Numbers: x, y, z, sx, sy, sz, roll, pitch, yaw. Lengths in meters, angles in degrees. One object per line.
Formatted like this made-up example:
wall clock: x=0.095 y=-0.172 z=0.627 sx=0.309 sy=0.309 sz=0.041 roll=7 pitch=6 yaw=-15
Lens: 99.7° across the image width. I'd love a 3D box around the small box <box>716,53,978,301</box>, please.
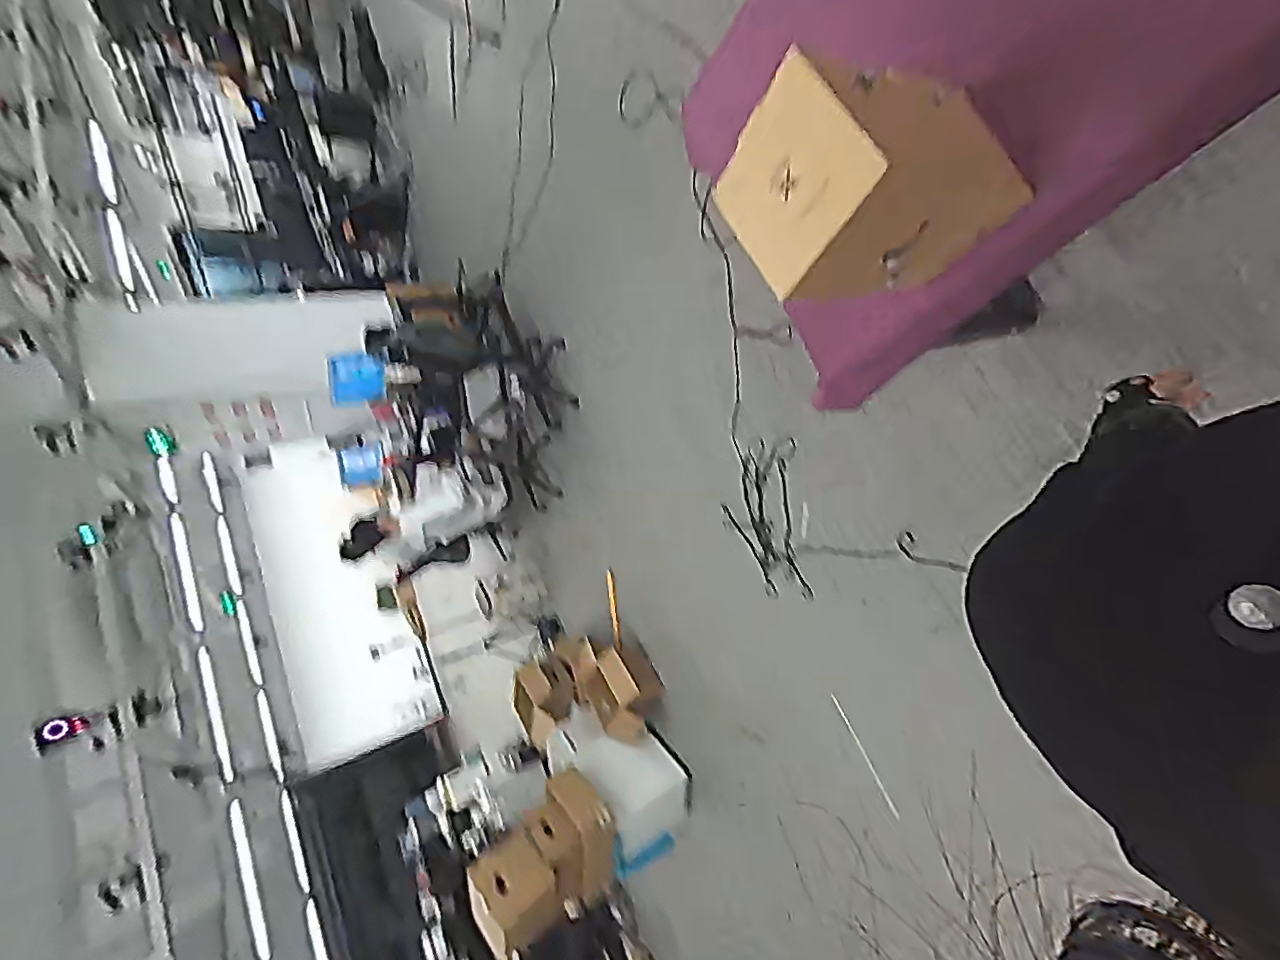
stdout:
small box: x=0.223 y=-0.321 z=0.603 sx=0.179 sy=0.176 sz=0.168 roll=64 pitch=147 yaw=18
